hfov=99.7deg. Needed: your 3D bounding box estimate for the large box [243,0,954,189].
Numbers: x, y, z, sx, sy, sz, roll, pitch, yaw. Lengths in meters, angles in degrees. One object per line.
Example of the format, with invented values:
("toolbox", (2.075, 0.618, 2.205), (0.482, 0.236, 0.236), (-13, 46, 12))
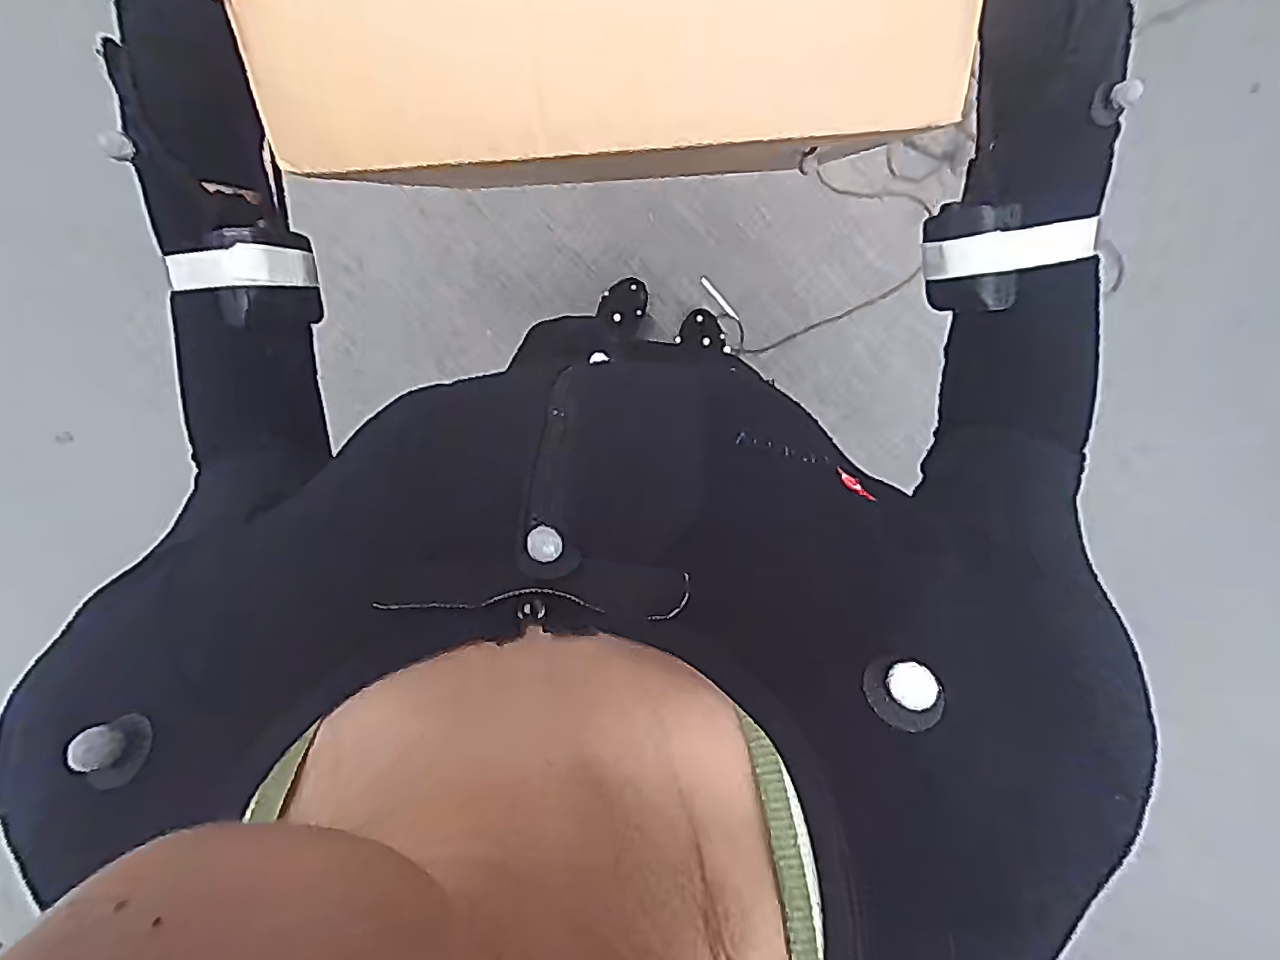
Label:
("large box", (-0.025, -0.407, 0.398), (0.408, 0.320, 0.320), (-3, 116, 5))
